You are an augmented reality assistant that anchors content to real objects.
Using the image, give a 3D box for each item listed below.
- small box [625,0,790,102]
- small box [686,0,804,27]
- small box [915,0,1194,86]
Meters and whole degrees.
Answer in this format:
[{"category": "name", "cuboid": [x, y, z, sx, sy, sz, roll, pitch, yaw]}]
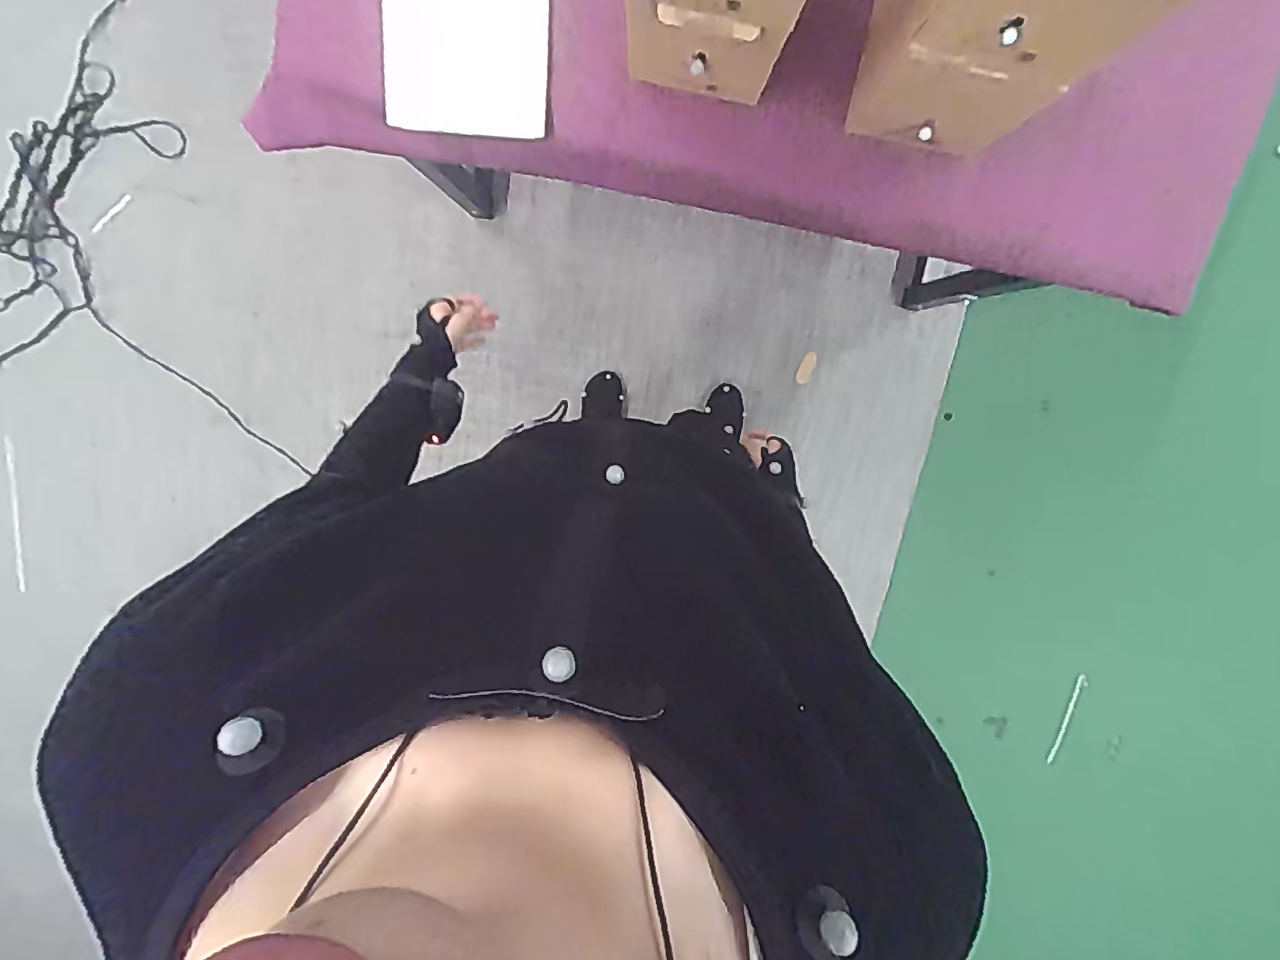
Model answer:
[{"category": "small box", "cuboid": [0.084, -0.548, 0.579, 0.168, 0.176, 0.179, 11, 102, -3]}, {"category": "small box", "cuboid": [0.083, -0.508, 0.419, 0.168, 0.176, 0.179, 11, 101, -2]}, {"category": "small box", "cuboid": [0.352, -0.466, 0.429, 0.168, 0.176, 0.179, 11, 101, -3]}]
